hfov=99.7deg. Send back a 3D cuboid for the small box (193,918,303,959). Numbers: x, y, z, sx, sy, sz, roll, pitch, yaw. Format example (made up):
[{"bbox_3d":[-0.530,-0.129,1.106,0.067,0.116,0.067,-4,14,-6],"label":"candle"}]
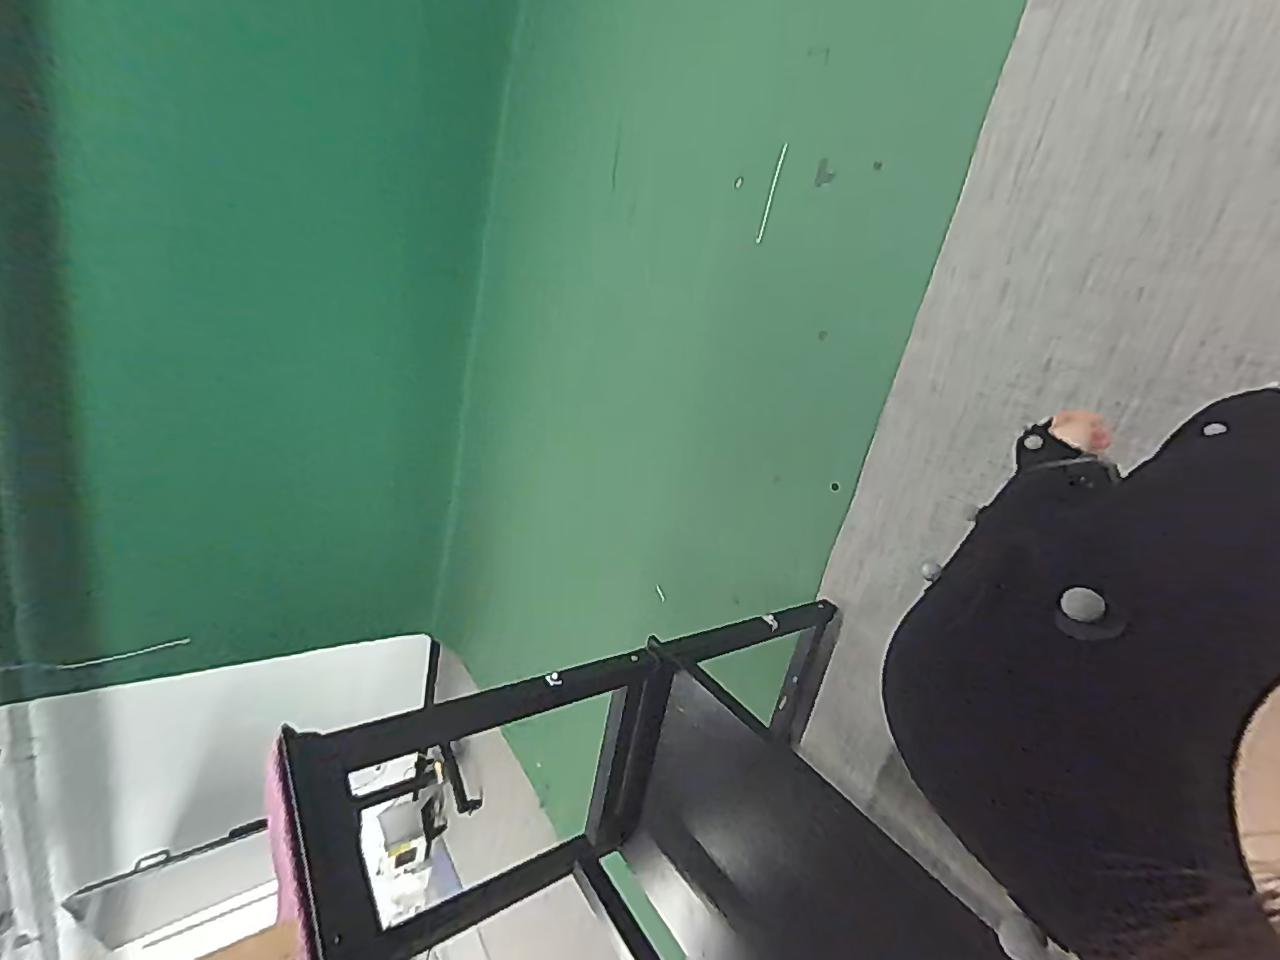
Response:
[{"bbox_3d":[-0.462,0.638,0.582,0.168,0.176,0.179,31,113,46],"label":"small box"}]
